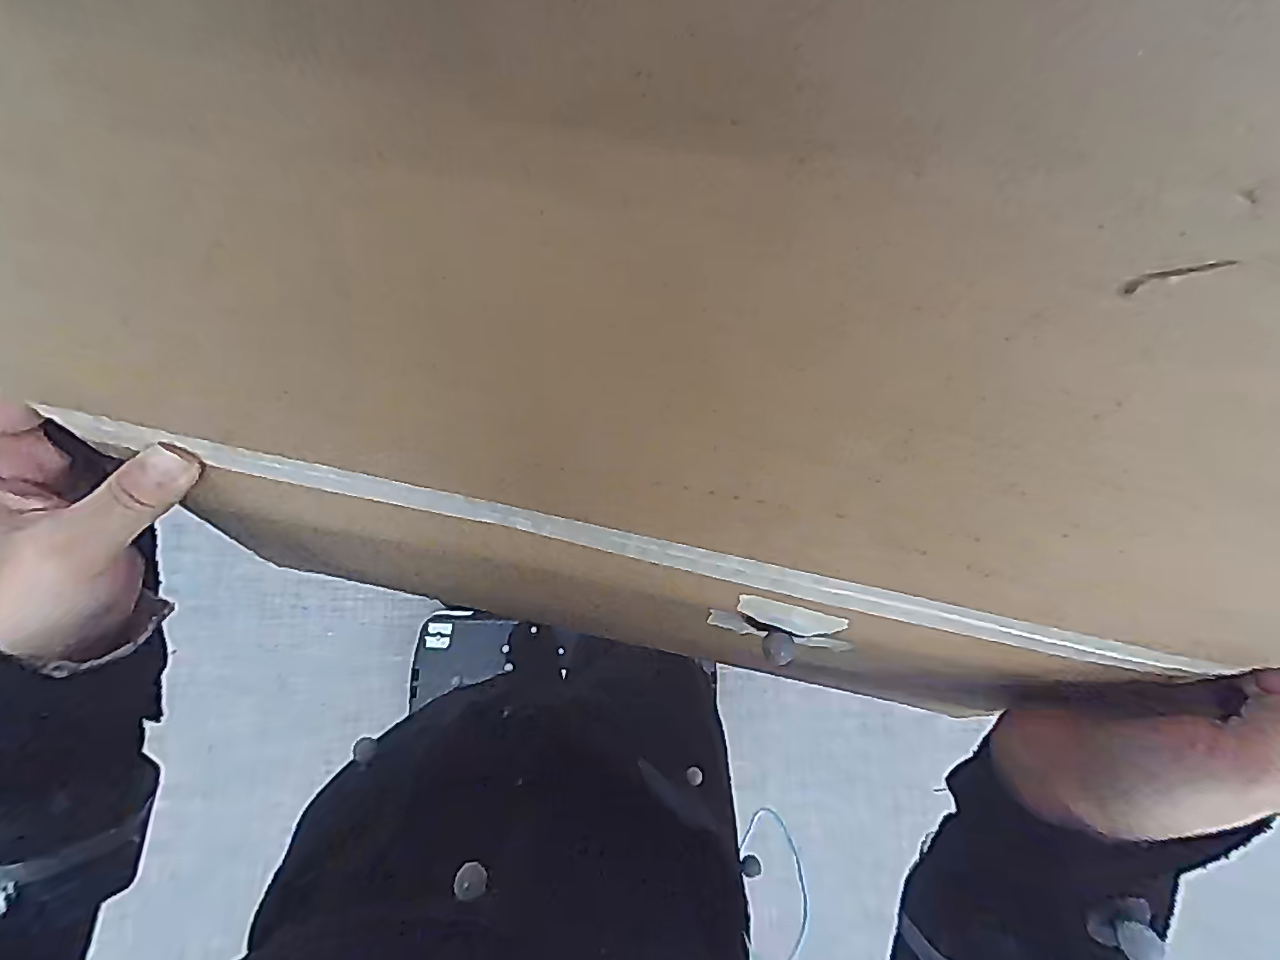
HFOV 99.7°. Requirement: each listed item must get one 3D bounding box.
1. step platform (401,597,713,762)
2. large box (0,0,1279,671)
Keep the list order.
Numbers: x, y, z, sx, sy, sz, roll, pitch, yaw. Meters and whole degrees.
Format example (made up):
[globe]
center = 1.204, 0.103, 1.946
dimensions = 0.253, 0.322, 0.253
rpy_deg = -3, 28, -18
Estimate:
[step platform]
center = -0.175, 0.450, 1.246
dimensions = 0.684, 0.204, 0.286
rpy_deg = 8, 79, -4
[large box]
center = 0.039, -0.137, 0.243
dimensions = 0.408, 0.320, 0.320
rpy_deg = 12, 62, 1
